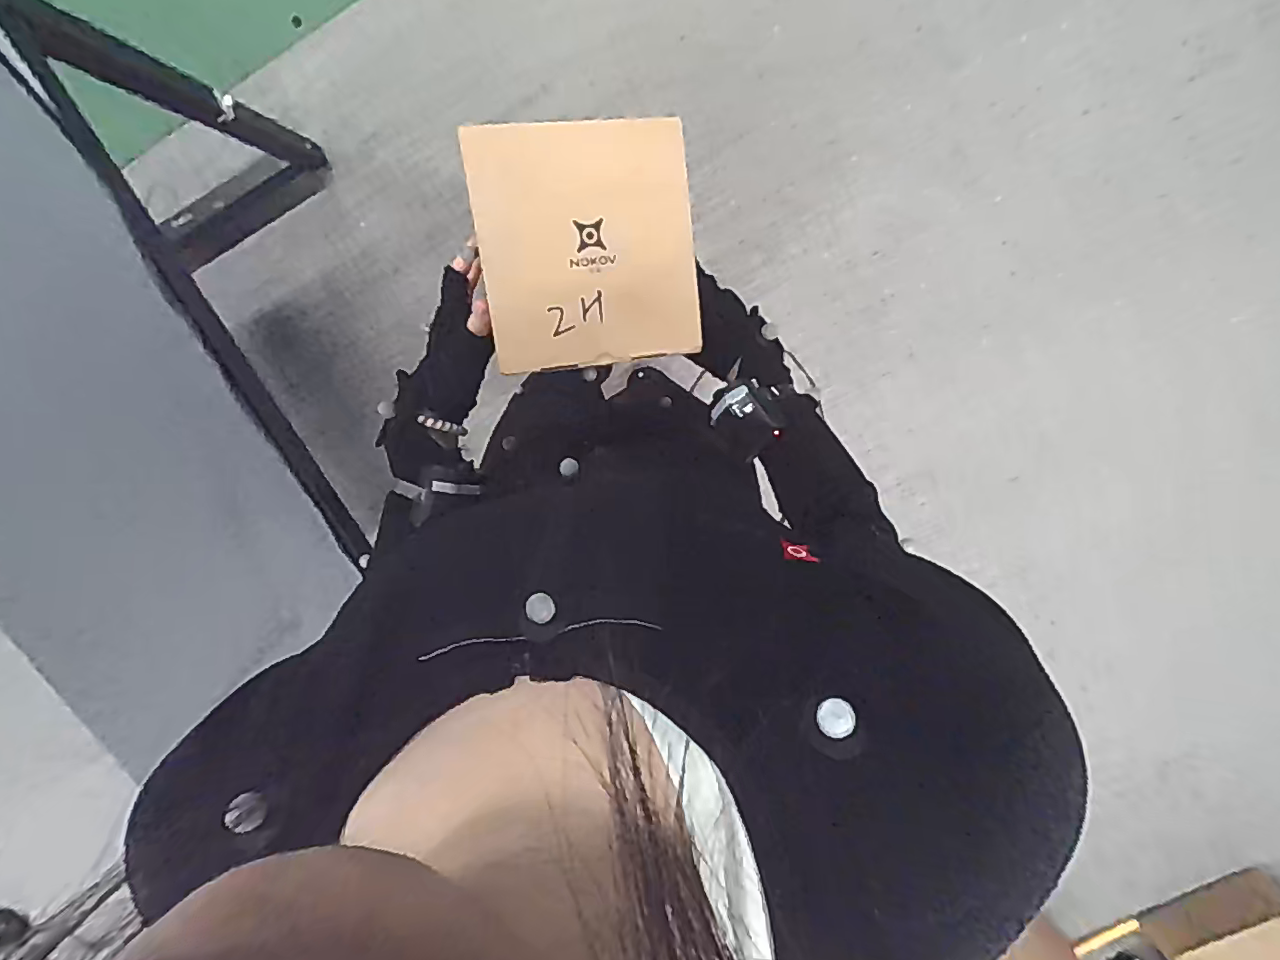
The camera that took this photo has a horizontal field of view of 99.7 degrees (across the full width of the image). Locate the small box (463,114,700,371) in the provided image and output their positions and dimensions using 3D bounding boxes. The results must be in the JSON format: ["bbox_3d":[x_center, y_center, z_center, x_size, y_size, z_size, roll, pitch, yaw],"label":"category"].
[{"bbox_3d":[-0.055,-0.194,0.486,0.168,0.176,0.179,-9,103,-10],"label":"small box"}]
